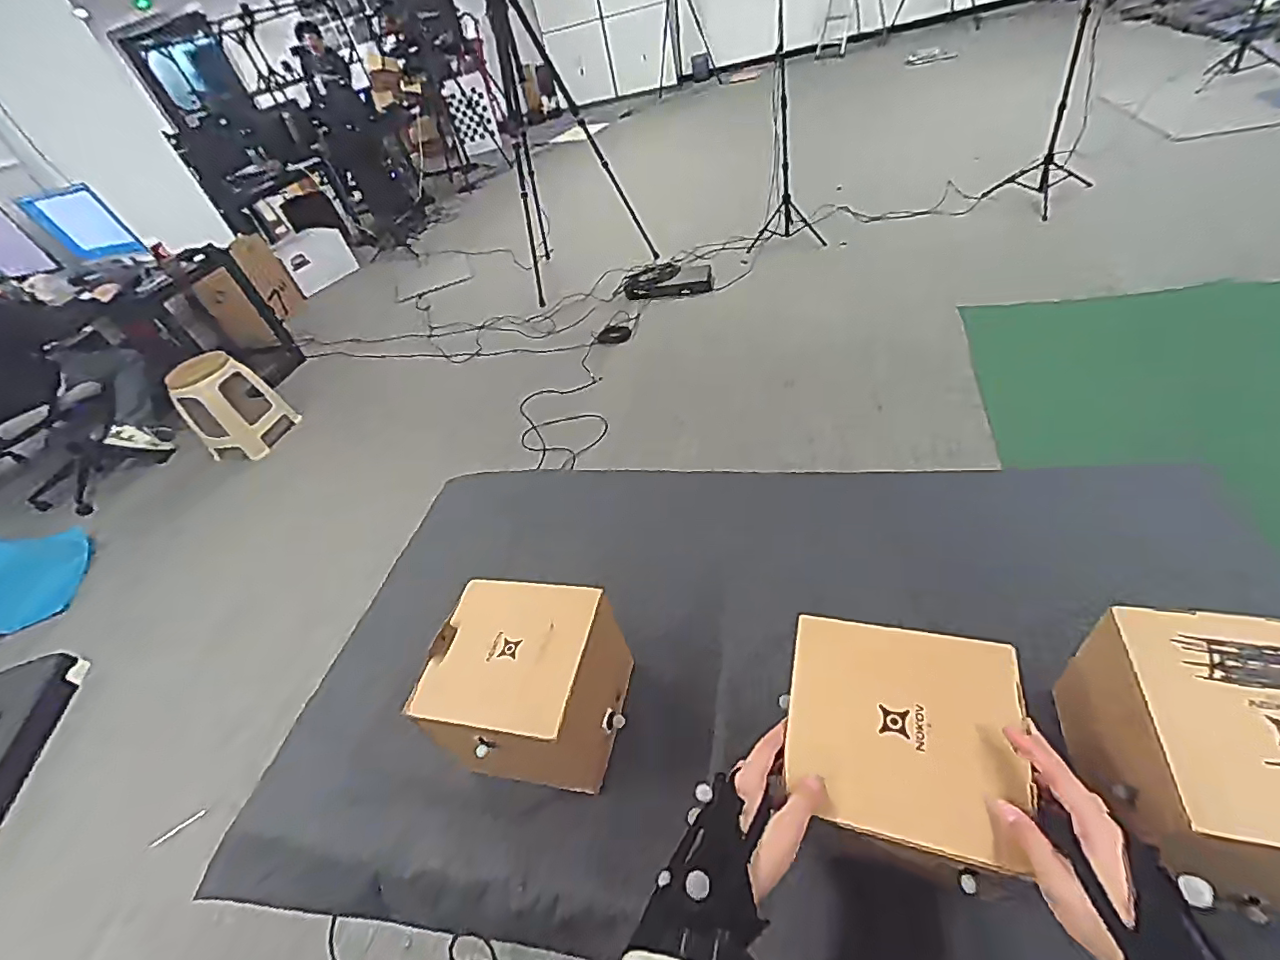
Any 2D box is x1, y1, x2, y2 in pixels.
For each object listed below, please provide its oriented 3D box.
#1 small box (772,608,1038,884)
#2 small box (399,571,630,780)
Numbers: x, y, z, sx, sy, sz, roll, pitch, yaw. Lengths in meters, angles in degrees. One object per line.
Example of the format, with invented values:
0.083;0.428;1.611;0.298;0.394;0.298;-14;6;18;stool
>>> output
0.223;0.239;0.489;0.179;0.176;0.168;4;51;21;small box
-0.127;0.224;0.622;0.179;0.176;0.168;1;46;17;small box
